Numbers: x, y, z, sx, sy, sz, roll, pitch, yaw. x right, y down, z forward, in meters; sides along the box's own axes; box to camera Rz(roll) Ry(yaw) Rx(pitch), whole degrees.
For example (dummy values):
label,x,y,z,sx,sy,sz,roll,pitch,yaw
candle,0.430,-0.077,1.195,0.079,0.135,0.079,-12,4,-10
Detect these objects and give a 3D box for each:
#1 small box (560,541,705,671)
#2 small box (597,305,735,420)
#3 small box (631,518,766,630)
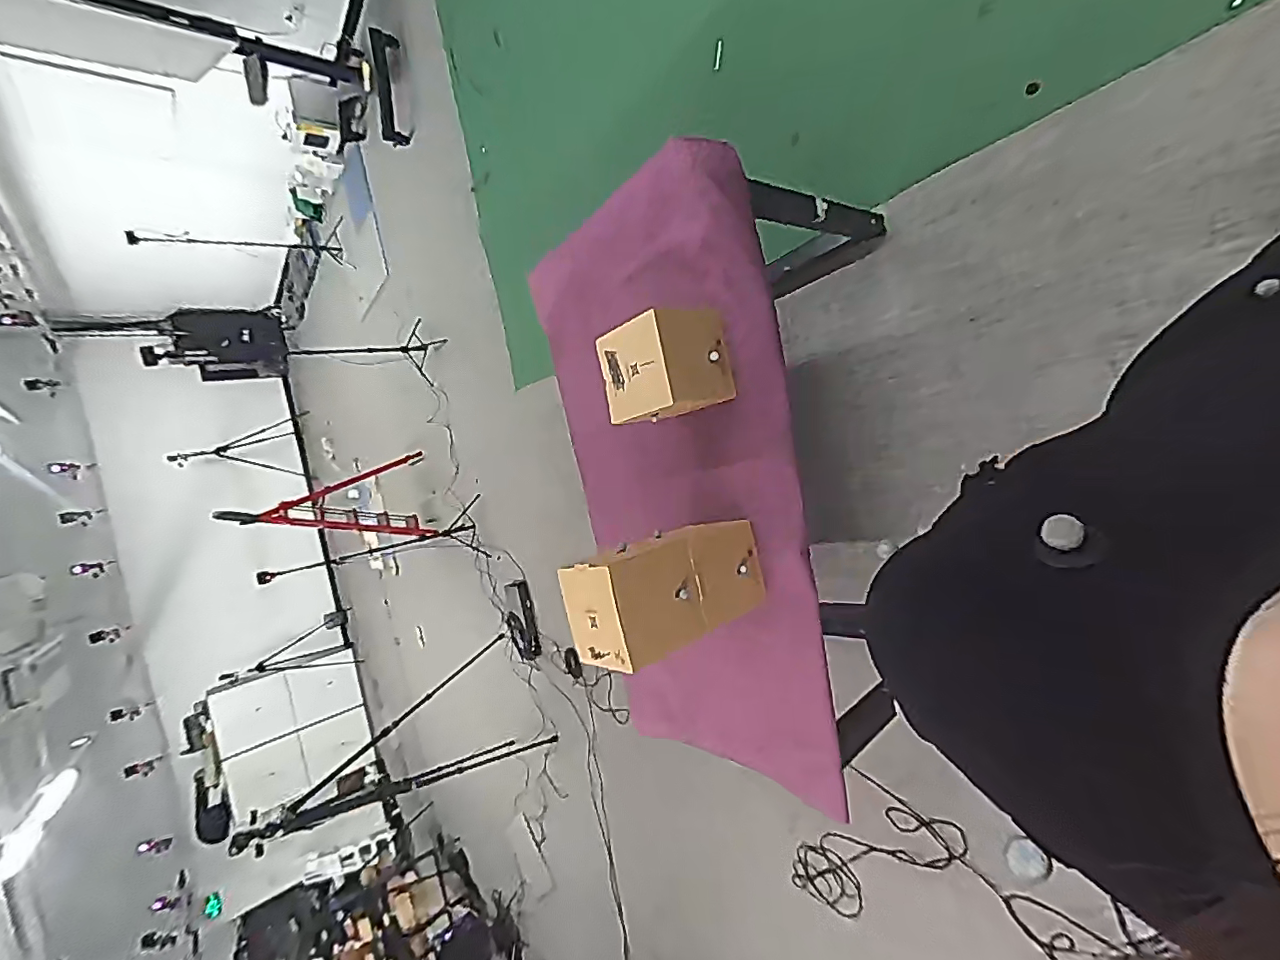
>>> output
label,x,y,z,sx,sy,sz,roll,pitch,yaw
small box,-0.013,0.205,0.938,0.168,0.176,0.179,-14,89,53
small box,0.049,-0.214,1.010,0.179,0.176,0.168,-10,93,51
small box,0.112,0.175,1.041,0.179,0.176,0.168,-12,91,52
